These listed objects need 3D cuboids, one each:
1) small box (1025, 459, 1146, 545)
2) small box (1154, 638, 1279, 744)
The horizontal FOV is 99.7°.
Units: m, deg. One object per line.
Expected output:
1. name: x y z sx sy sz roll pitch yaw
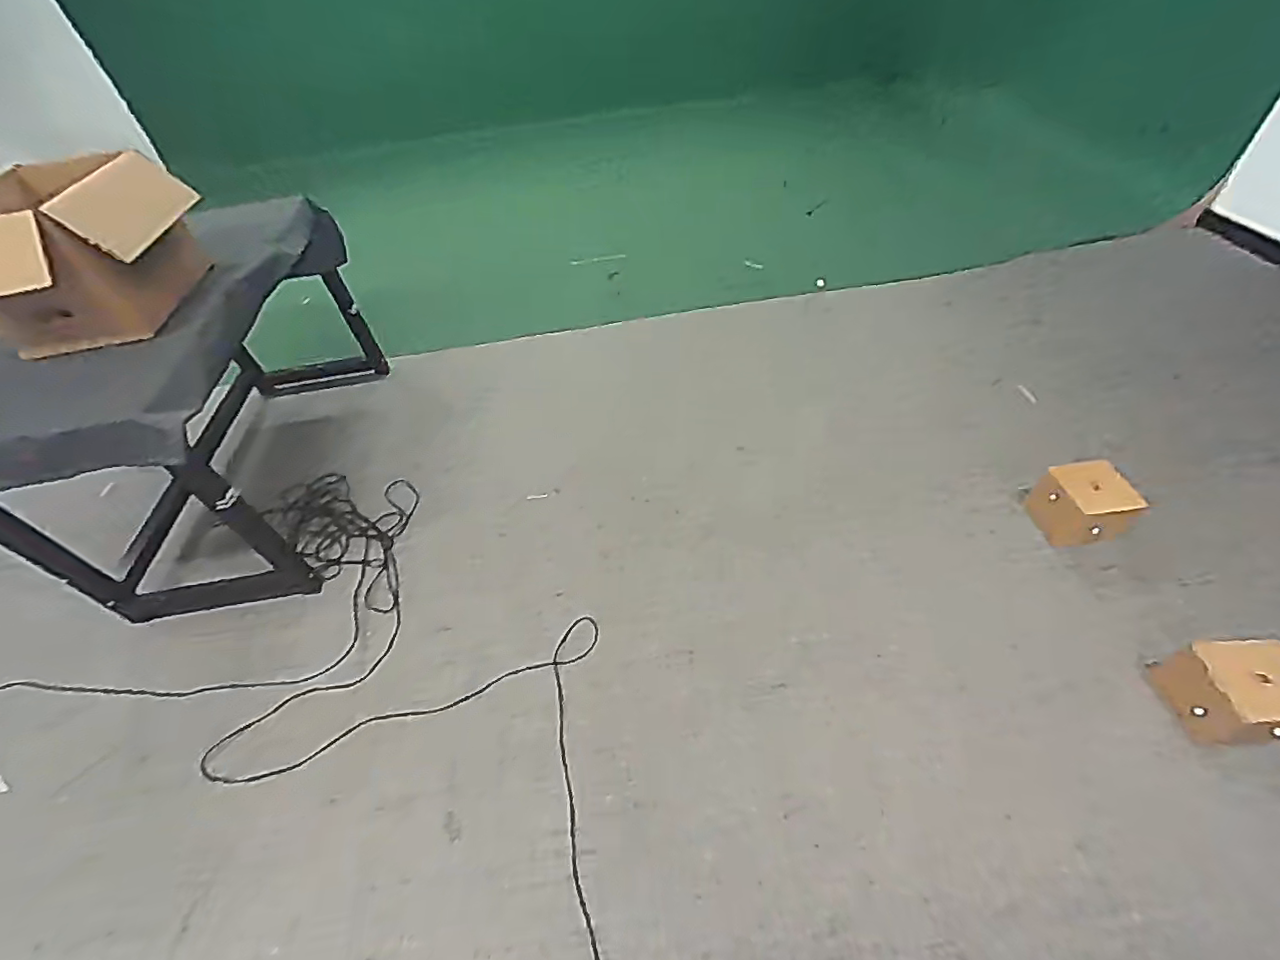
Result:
1. small box: 1.229 0.068 1.509 0.168 0.176 0.179 -8 48 1
2. small box: 1.269 0.455 1.158 0.179 0.176 0.168 -4 49 3
